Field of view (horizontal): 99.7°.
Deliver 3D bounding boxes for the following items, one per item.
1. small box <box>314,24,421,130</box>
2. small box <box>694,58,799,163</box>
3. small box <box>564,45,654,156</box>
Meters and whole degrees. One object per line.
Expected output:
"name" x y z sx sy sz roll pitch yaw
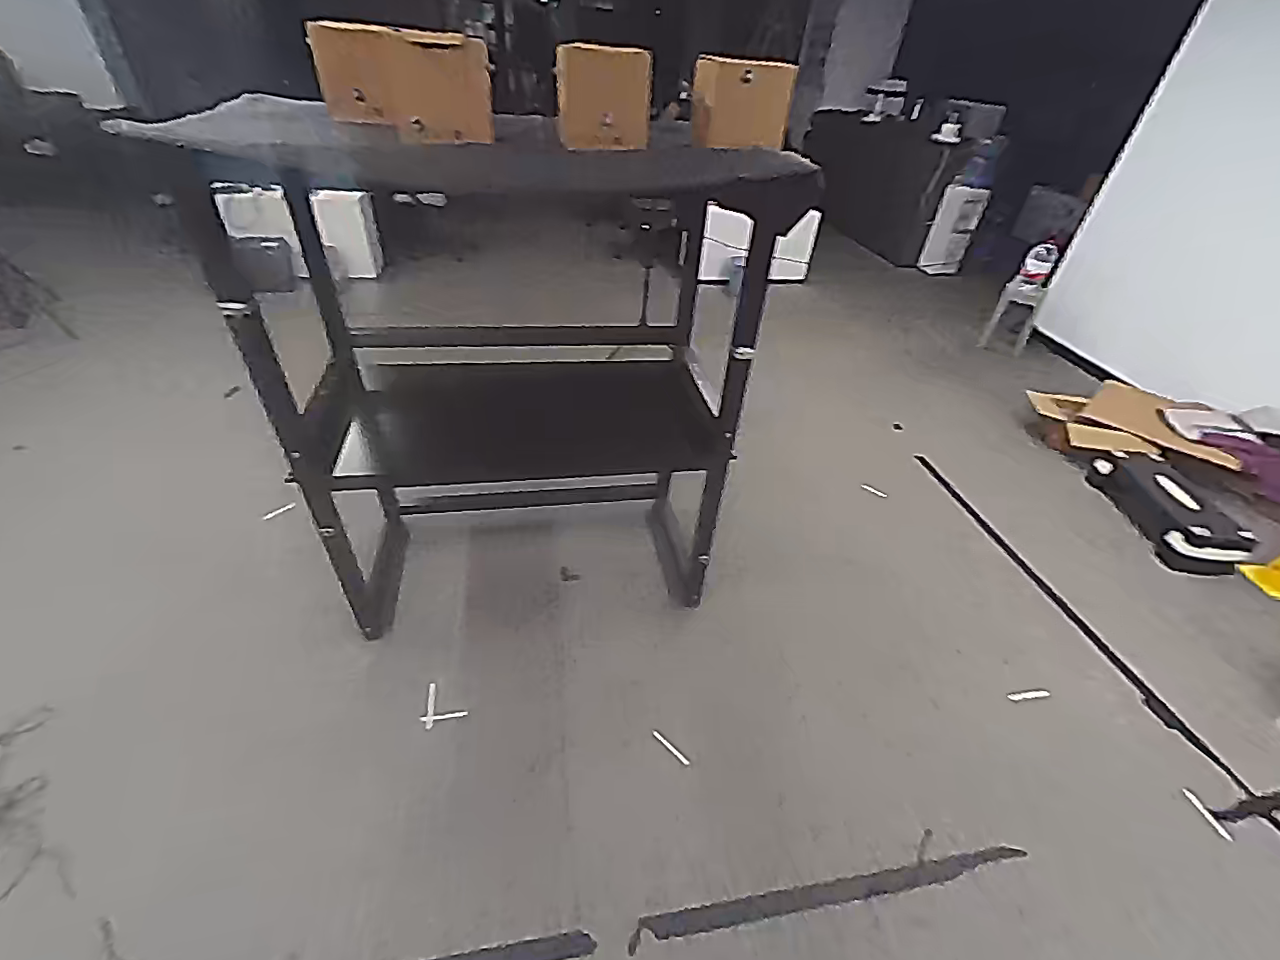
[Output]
"small box" -0.595 -0.897 1.206 0.168 0.176 0.179 -5 41 -12
"small box" 0.222 -0.805 1.178 0.168 0.176 0.179 -3 39 -9
"small box" -0.072 -0.787 1.124 0.168 0.176 0.179 -4 39 -10
